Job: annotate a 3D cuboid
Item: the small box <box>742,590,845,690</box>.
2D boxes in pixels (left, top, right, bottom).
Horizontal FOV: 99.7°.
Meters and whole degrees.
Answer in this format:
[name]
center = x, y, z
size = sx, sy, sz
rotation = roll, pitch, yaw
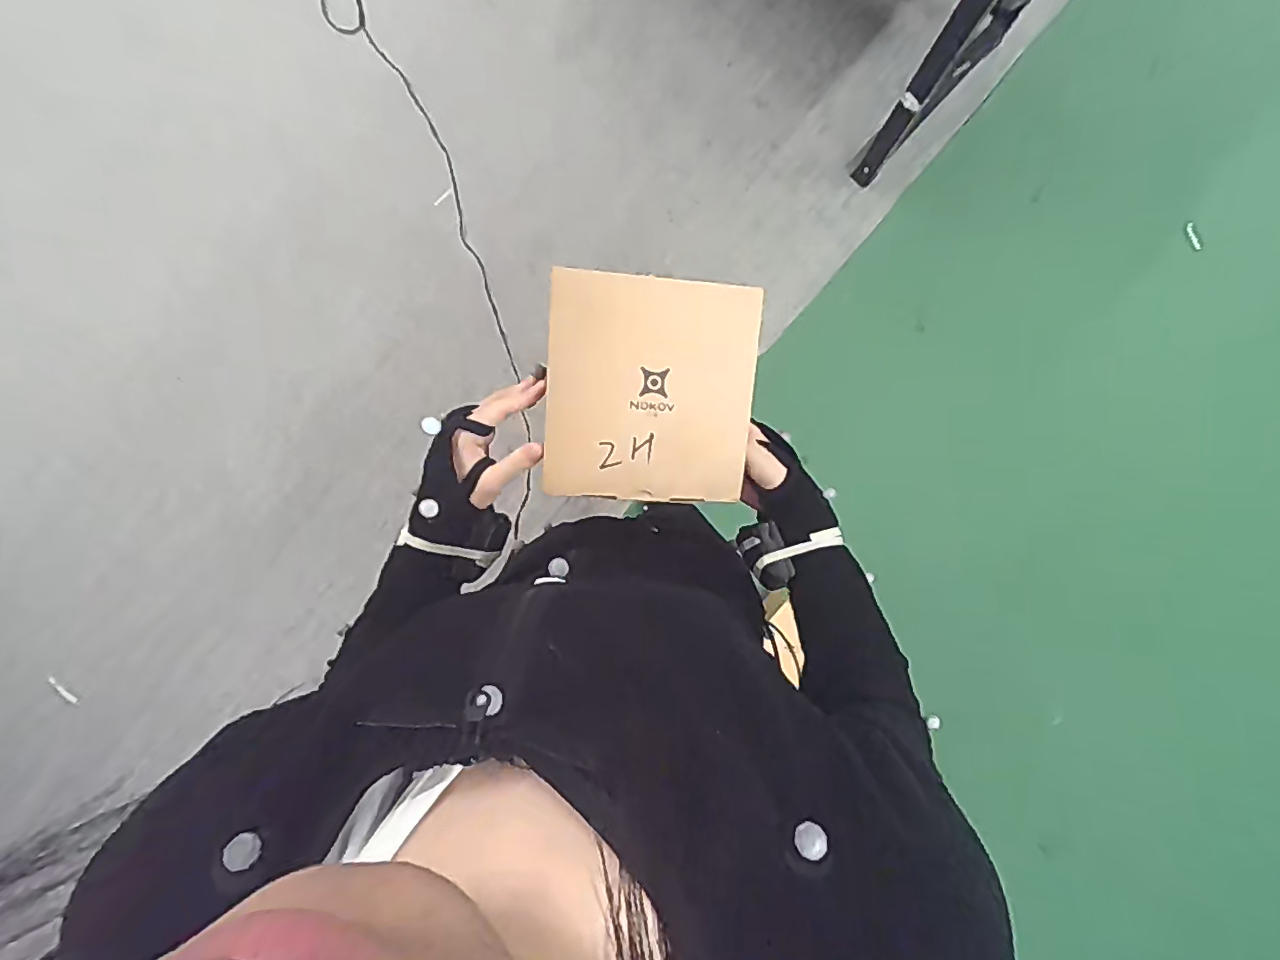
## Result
[small box]
center = 0.391, 0.408, 1.416
size = 0.179, 0.176, 0.168
rotation = 42, 90, 2
